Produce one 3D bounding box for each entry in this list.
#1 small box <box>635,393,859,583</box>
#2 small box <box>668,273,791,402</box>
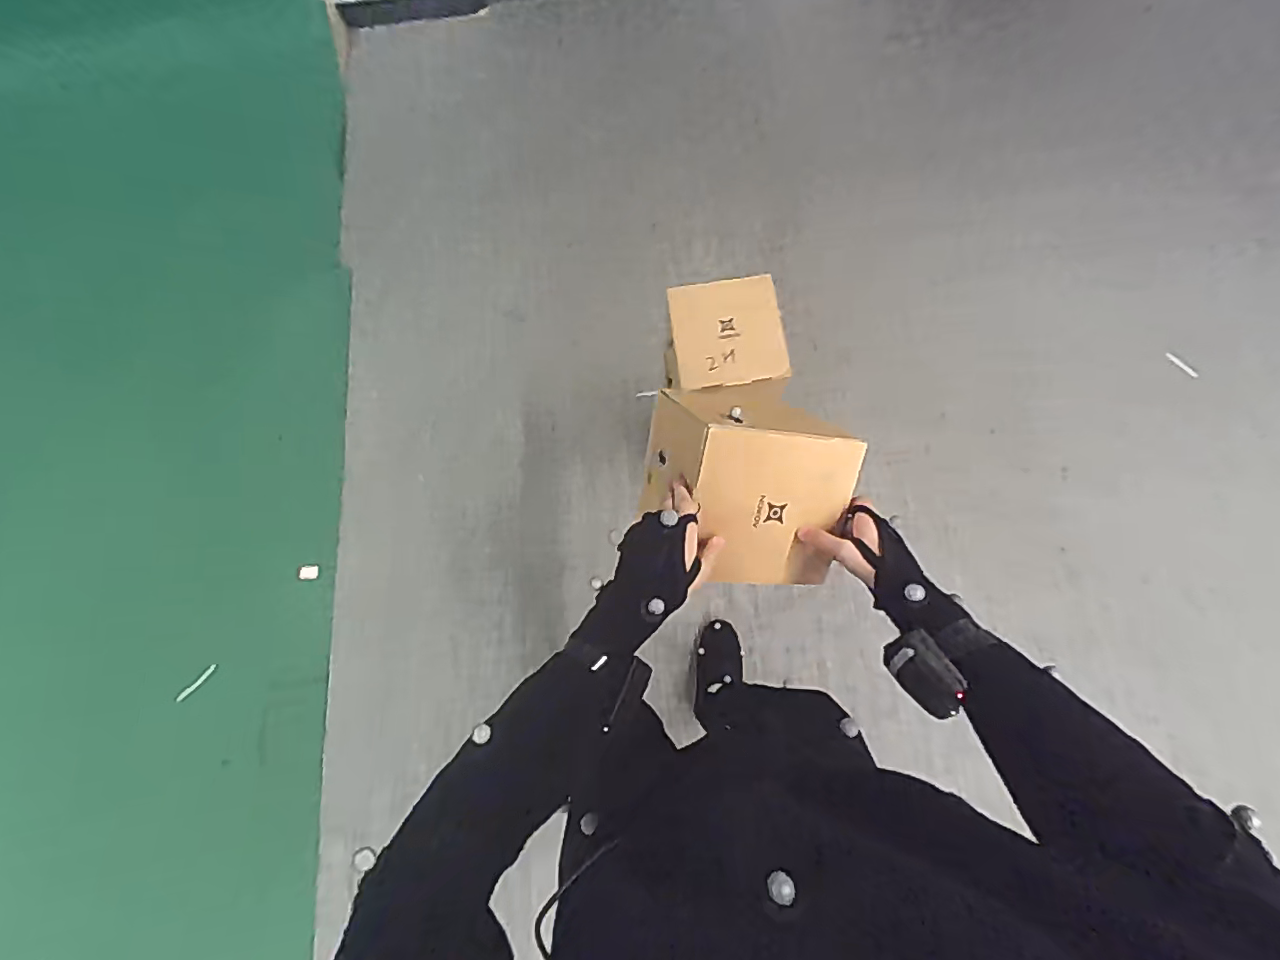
[{"bbox_3d":[0.105,0.002,0.611,0.179,0.176,0.168,3,110,-15],"label":"small box"},{"bbox_3d":[0.136,-0.209,0.891,0.168,0.176,0.179,-7,77,2],"label":"small box"}]
